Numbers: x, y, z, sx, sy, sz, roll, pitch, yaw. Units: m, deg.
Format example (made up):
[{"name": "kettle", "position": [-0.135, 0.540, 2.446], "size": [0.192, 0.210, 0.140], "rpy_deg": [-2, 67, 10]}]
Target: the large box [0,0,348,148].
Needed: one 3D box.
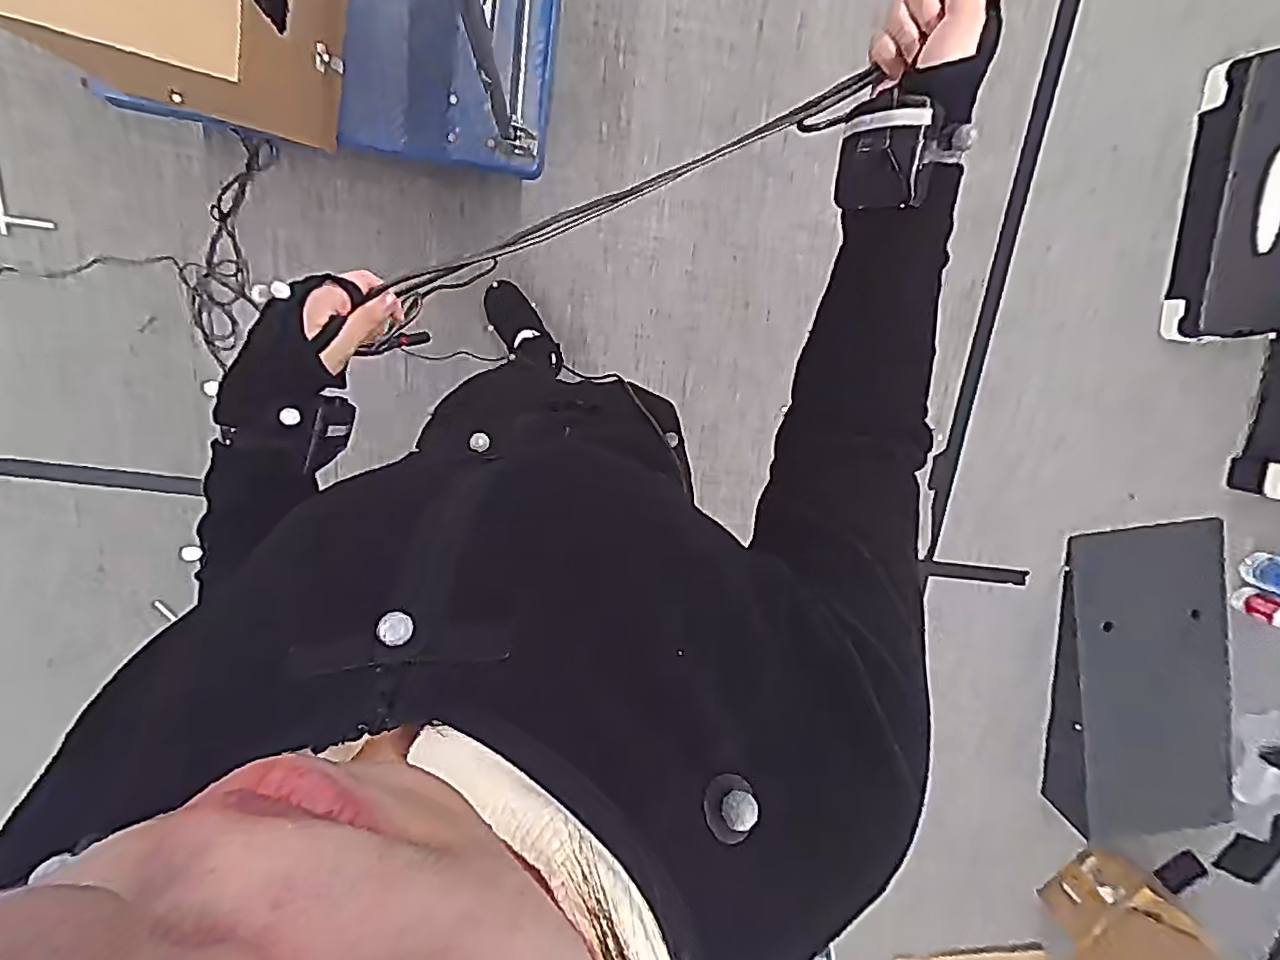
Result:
[{"name": "large box", "position": [-0.760, -0.808, 0.891], "size": [0.408, 0.320, 0.320], "rpy_deg": [12, 103, -7]}]
